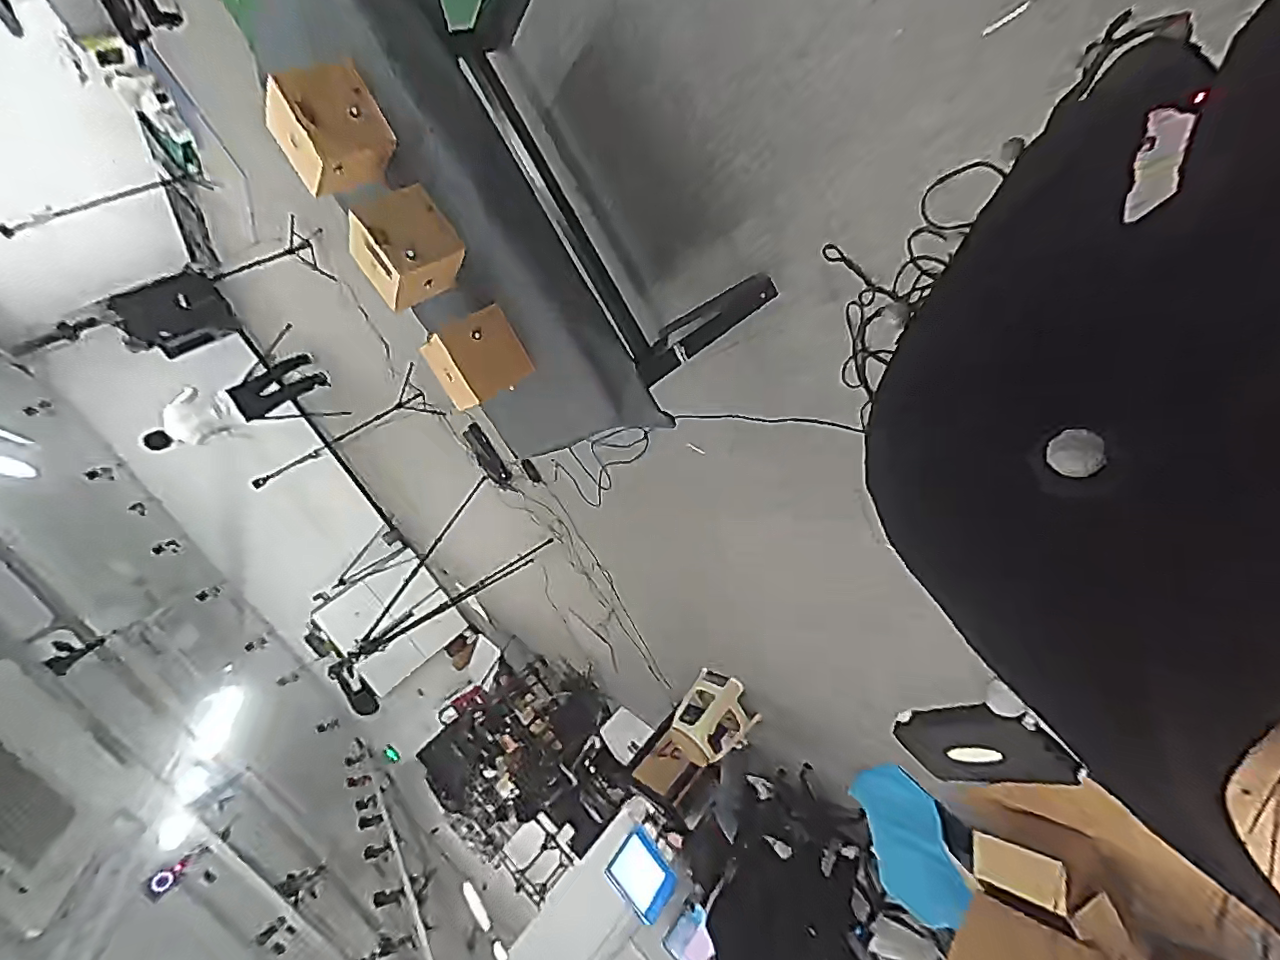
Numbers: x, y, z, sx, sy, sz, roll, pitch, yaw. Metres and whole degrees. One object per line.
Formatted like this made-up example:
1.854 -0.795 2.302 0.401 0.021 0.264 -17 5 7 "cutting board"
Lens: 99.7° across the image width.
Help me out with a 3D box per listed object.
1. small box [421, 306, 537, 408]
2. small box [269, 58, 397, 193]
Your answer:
-0.378 -0.293 1.277 0.168 0.176 0.179 -1 124 56 "small box"
-0.640 -0.741 1.136 0.179 0.176 0.168 -1 122 54 "small box"
